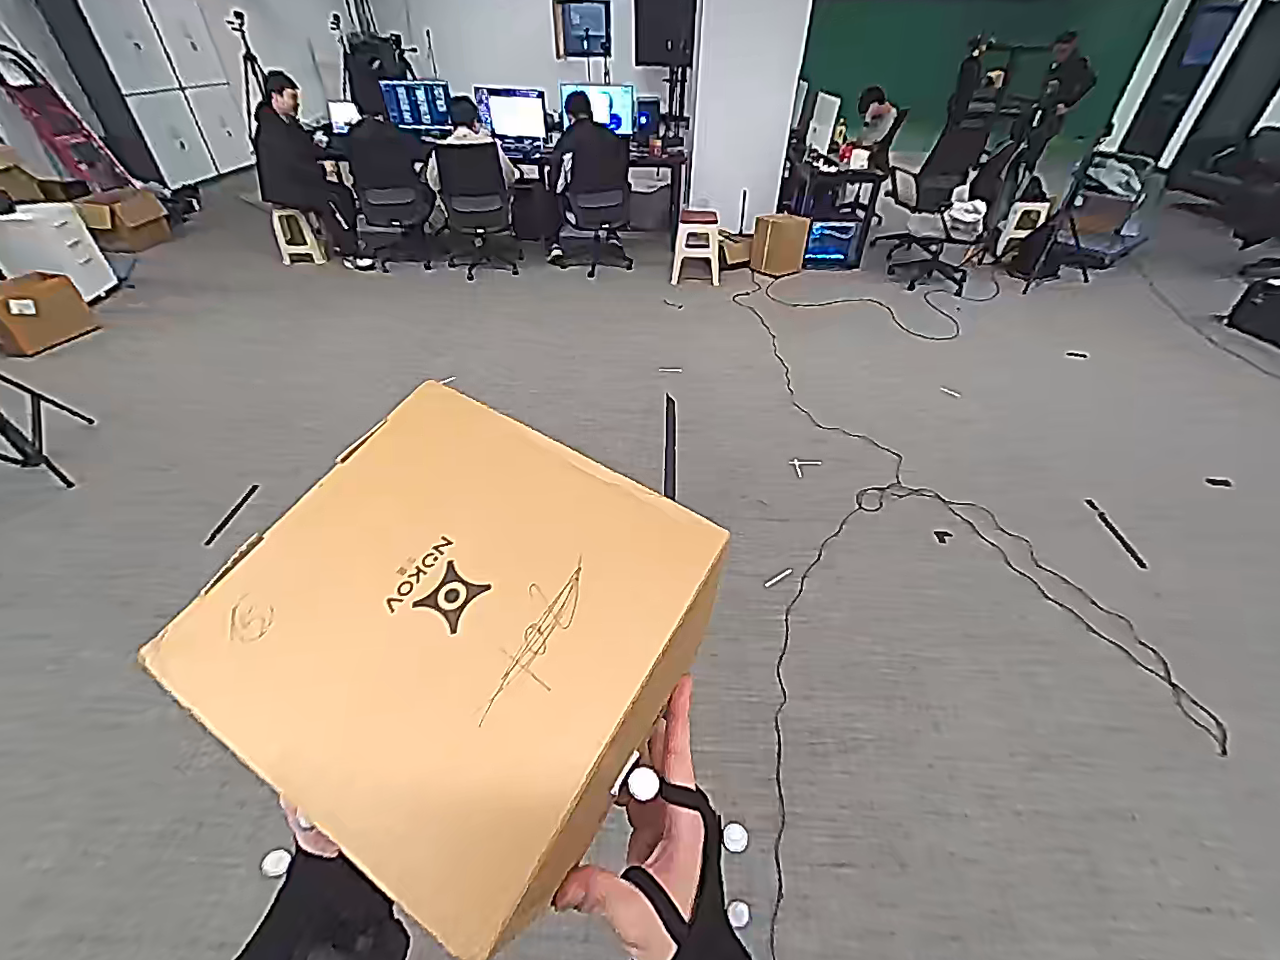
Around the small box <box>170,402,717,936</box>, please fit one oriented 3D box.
[{"bbox_3d":[-0.077,0.094,0.298,0.179,0.176,0.168,26,64,17],"label":"small box"}]
